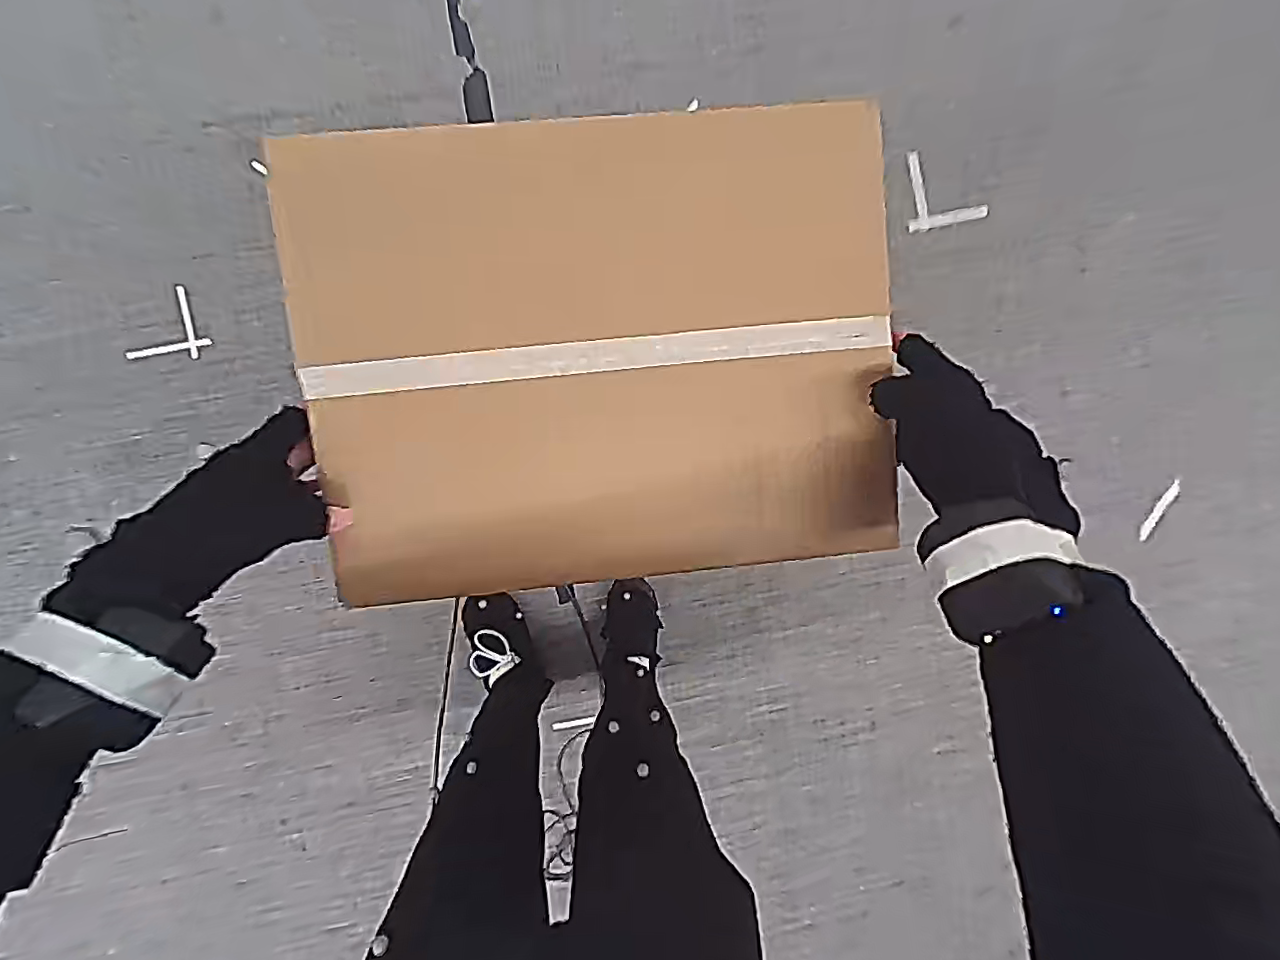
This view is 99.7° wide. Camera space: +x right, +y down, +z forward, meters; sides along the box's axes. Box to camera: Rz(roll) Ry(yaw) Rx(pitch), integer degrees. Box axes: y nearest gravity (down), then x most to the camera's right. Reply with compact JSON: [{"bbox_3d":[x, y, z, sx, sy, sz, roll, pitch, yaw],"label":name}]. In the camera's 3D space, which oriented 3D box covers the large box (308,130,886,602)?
[{"bbox_3d":[-0.030,-0.096,0.546,0.408,0.320,0.320,-6,97,-4],"label":"large box"}]
